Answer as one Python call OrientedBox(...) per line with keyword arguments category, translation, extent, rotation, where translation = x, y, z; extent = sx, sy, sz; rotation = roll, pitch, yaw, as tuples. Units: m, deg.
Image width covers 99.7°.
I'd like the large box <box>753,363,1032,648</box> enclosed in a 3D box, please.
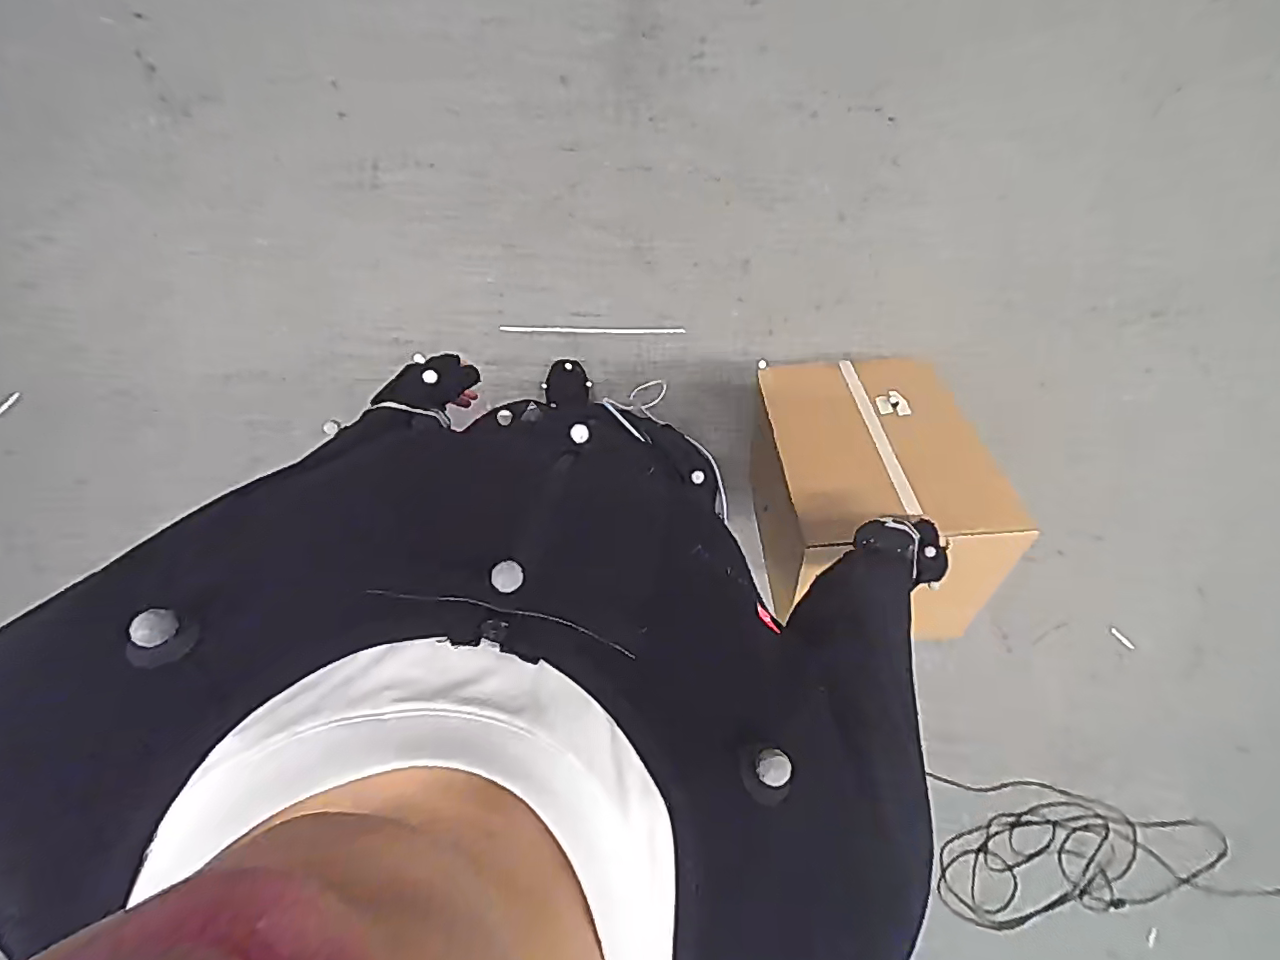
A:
OrientedBox(category="large box", translation=(0.395, 0.044, 0.982), extent=(0.320, 0.408, 0.320), rotation=(-5, 137, 3))
